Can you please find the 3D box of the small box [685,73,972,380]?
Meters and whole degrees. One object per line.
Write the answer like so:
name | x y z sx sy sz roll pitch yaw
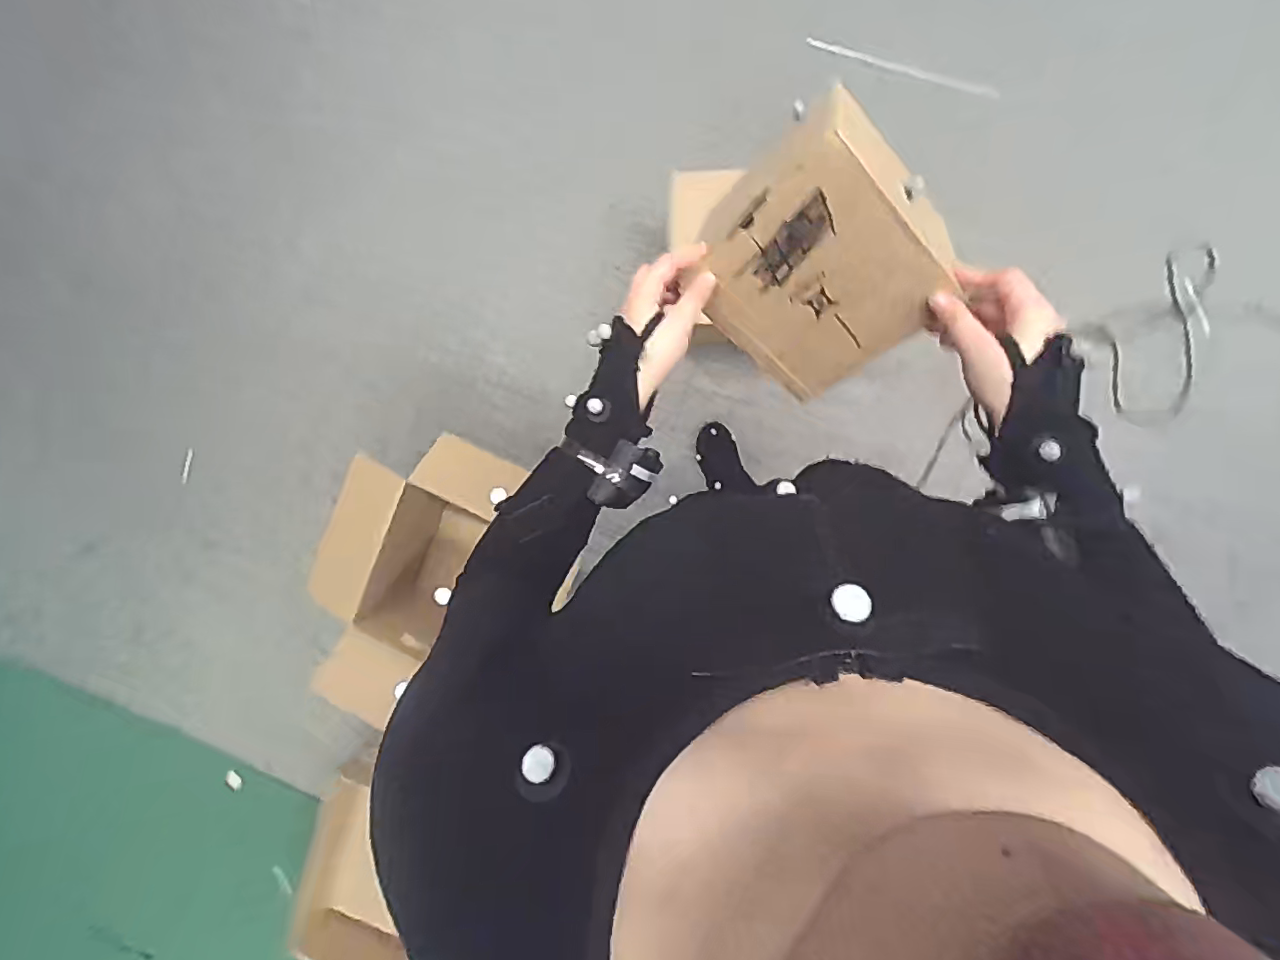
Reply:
small box | 0.170 -0.236 0.505 0.179 0.176 0.168 36 137 -20
